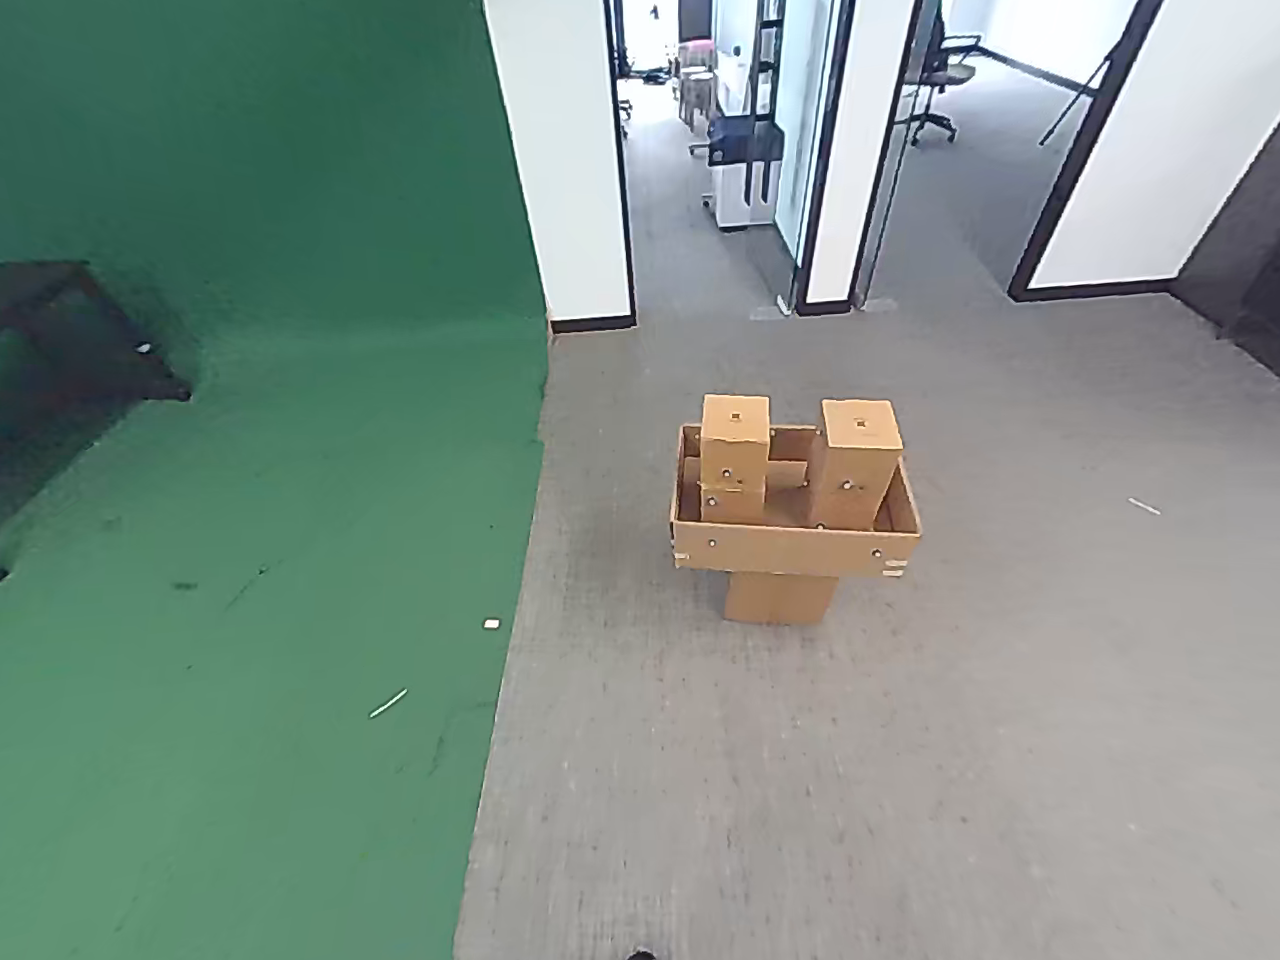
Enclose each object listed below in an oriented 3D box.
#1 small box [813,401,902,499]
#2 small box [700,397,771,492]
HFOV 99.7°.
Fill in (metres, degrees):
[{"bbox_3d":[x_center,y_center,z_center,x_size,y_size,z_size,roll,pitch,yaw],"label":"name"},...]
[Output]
[{"bbox_3d":[0.536,-0.076,1.357,0.168,0.176,0.179,3,47,9],"label":"small box"},{"bbox_3d":[0.245,-0.094,1.401,0.168,0.176,0.179,4,47,8],"label":"small box"}]
